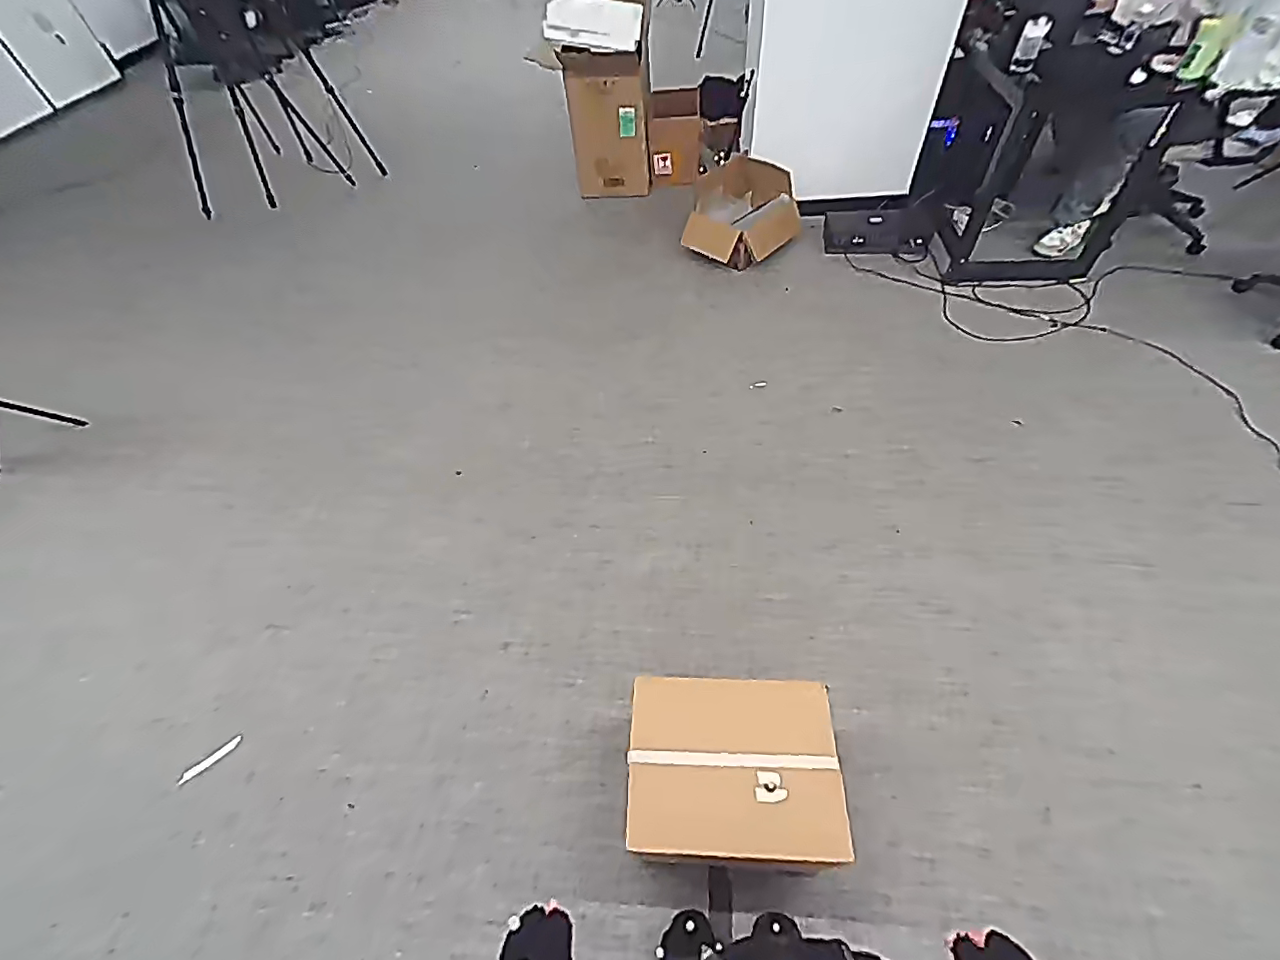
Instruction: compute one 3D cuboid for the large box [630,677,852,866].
[{"bbox_3d":[0.190,0.635,1.170,0.408,0.320,0.320,0,53,4],"label":"large box"}]
